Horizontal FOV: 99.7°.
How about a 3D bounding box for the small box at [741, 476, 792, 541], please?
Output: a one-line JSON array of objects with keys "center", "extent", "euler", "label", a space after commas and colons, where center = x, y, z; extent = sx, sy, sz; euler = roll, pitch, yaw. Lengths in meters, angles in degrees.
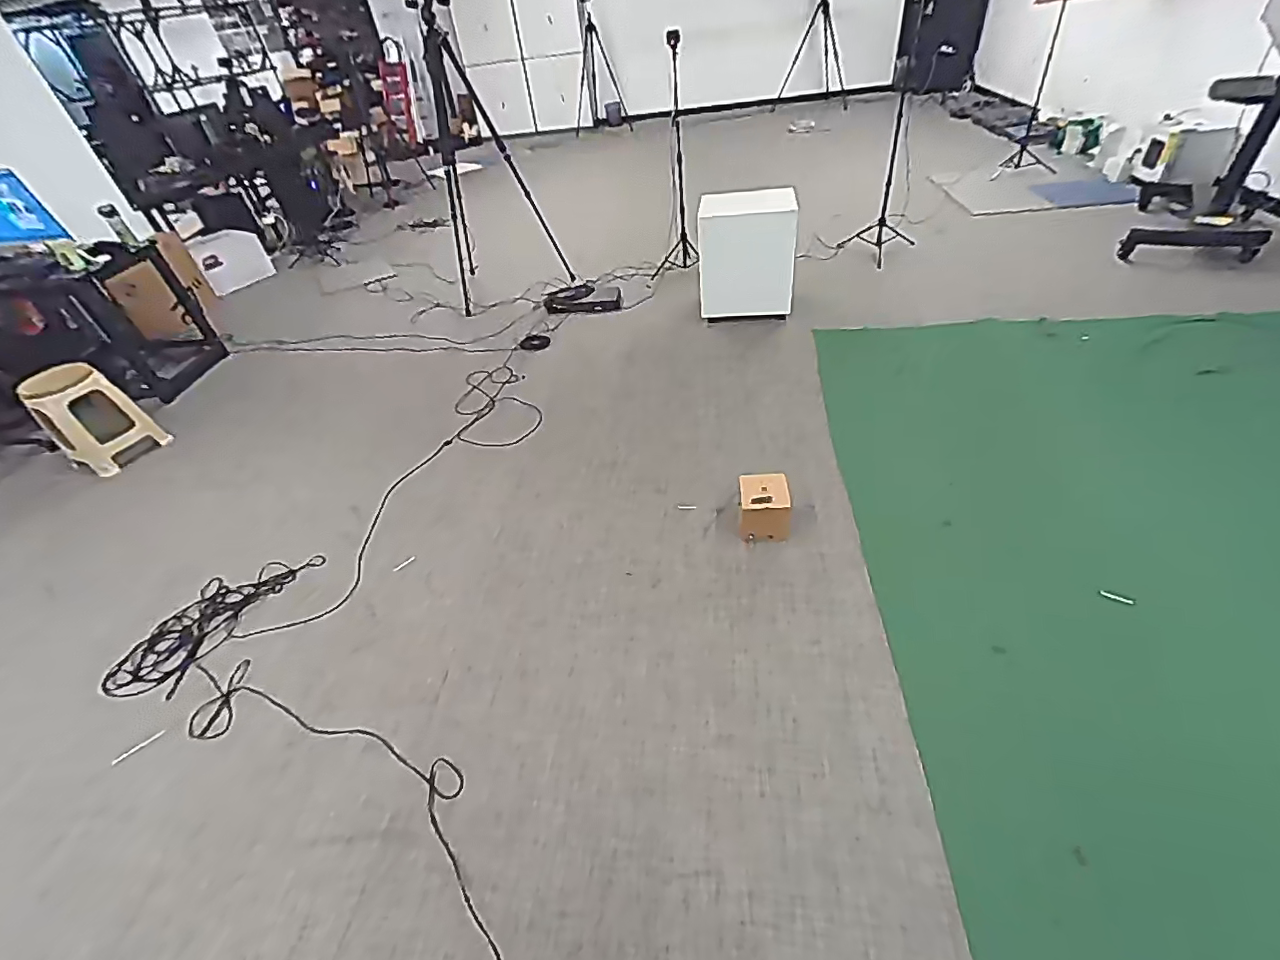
[{"center": [0.451, 0.105, 1.942], "extent": [0.168, 0.176, 0.179], "euler": [-2, 42, 7], "label": "small box"}]
